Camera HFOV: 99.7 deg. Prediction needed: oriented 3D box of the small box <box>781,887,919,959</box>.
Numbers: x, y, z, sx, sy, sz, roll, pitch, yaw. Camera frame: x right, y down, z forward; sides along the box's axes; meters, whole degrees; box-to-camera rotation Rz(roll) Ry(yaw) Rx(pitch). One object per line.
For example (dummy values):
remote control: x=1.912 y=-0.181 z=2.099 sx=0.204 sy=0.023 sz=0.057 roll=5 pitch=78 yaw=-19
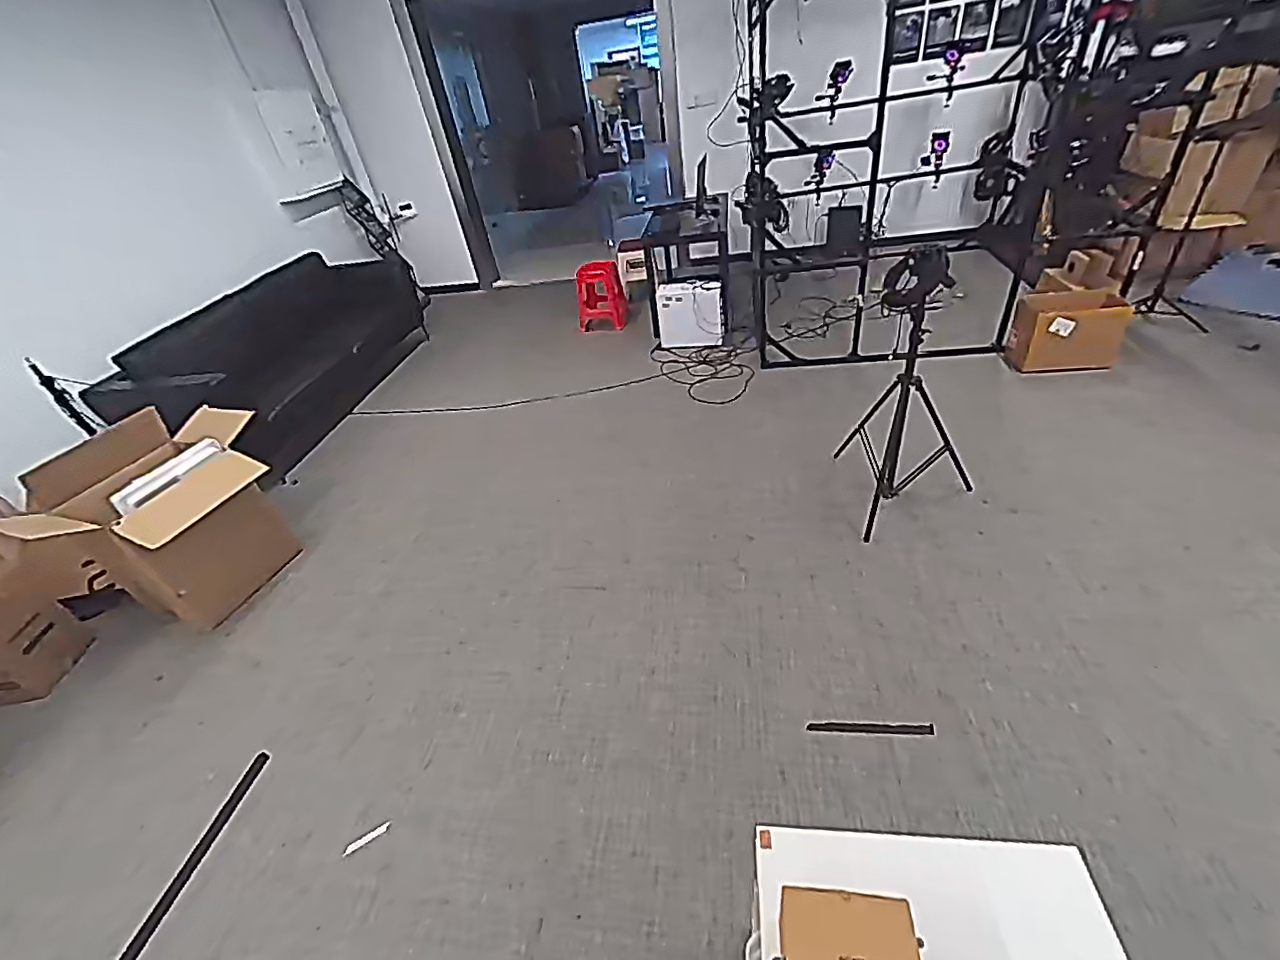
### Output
small box: x=0.278 y=0.680 z=0.718 sx=0.168 sy=0.176 sz=0.179 roll=-2 pitch=37 yaw=10
